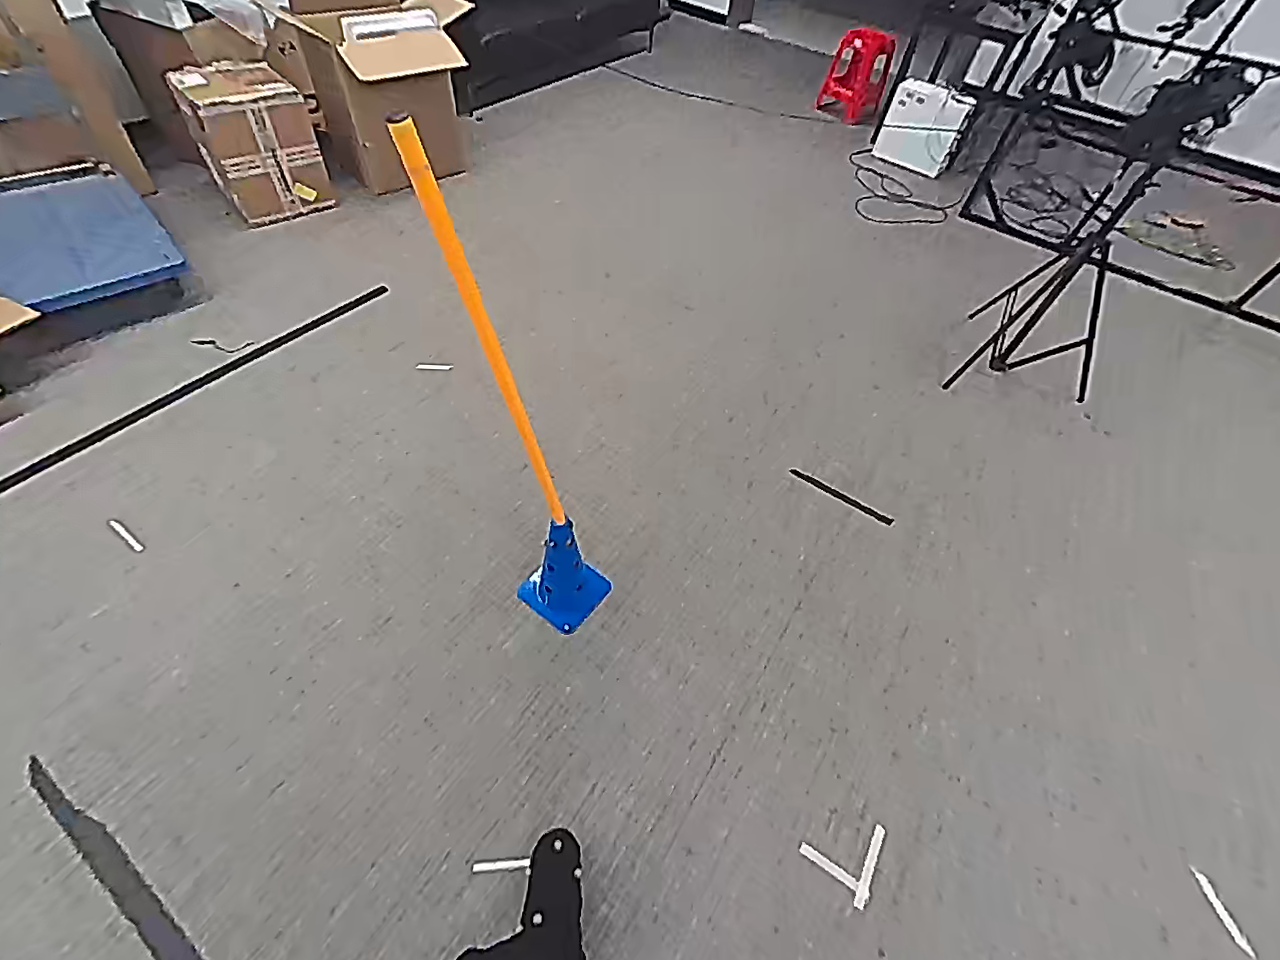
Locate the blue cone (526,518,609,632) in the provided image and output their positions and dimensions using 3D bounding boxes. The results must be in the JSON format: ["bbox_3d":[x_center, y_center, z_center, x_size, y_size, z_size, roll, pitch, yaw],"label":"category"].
[{"bbox_3d":[-0.187,0.209,1.380,0.192,0.380,0.193,35,57,19],"label":"blue cone"}]
